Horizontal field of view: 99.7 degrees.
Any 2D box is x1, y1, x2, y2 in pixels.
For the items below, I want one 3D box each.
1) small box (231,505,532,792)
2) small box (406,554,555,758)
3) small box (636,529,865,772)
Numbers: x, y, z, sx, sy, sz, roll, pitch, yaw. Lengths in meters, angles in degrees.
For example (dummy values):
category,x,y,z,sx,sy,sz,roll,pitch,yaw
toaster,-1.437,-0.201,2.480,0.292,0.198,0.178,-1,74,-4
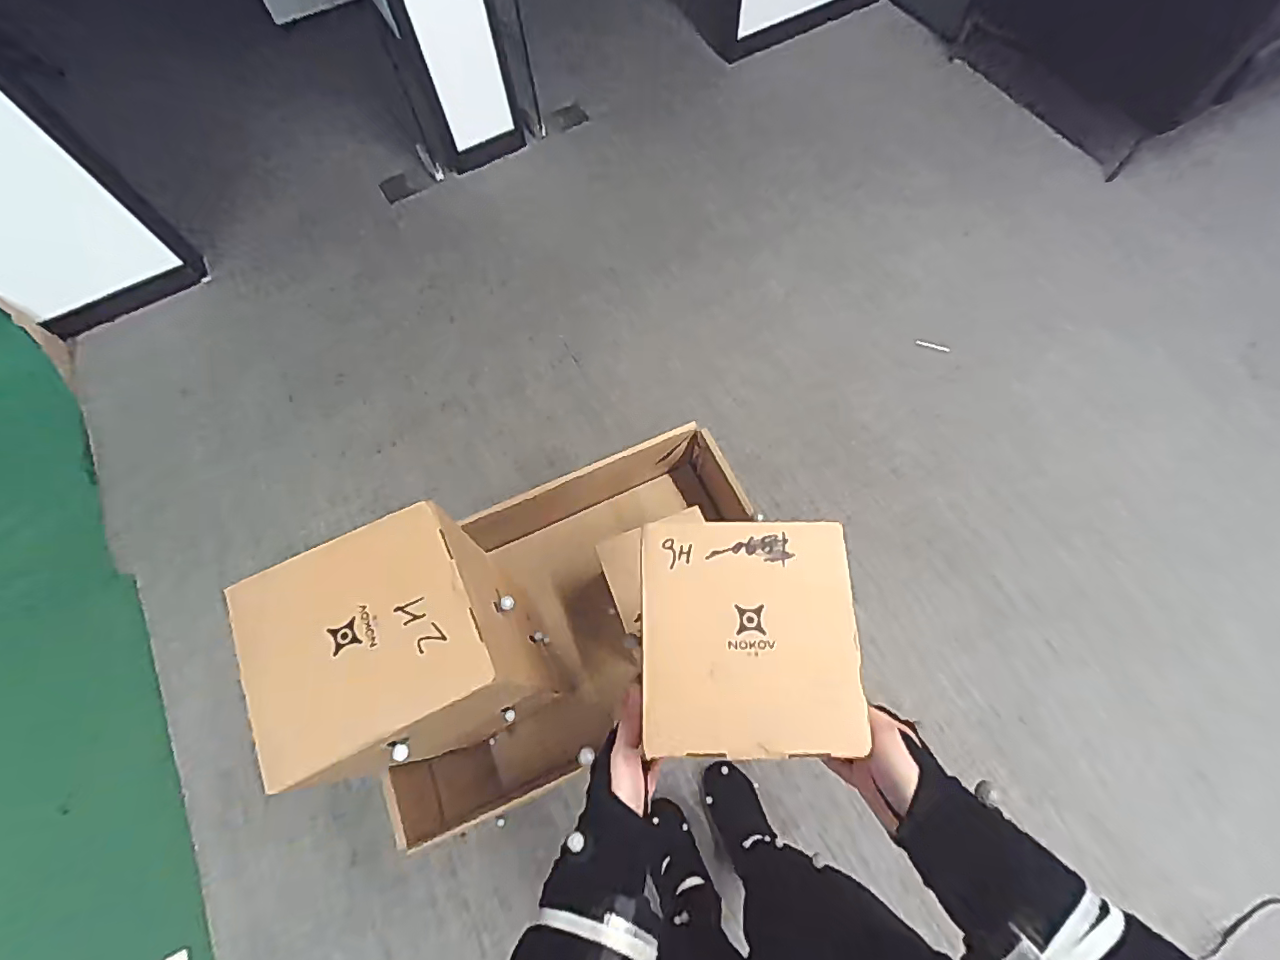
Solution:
category,x,y,z,sx,sy,sz,roll,pitch,yaw
small box,-0.219,0.153,0.495,0.179,0.176,0.168,-24,69,-10
small box,-0.219,0.216,0.647,0.179,0.176,0.168,-24,69,-10
small box,0.082,0.148,0.487,0.168,0.176,0.179,1,71,-1
